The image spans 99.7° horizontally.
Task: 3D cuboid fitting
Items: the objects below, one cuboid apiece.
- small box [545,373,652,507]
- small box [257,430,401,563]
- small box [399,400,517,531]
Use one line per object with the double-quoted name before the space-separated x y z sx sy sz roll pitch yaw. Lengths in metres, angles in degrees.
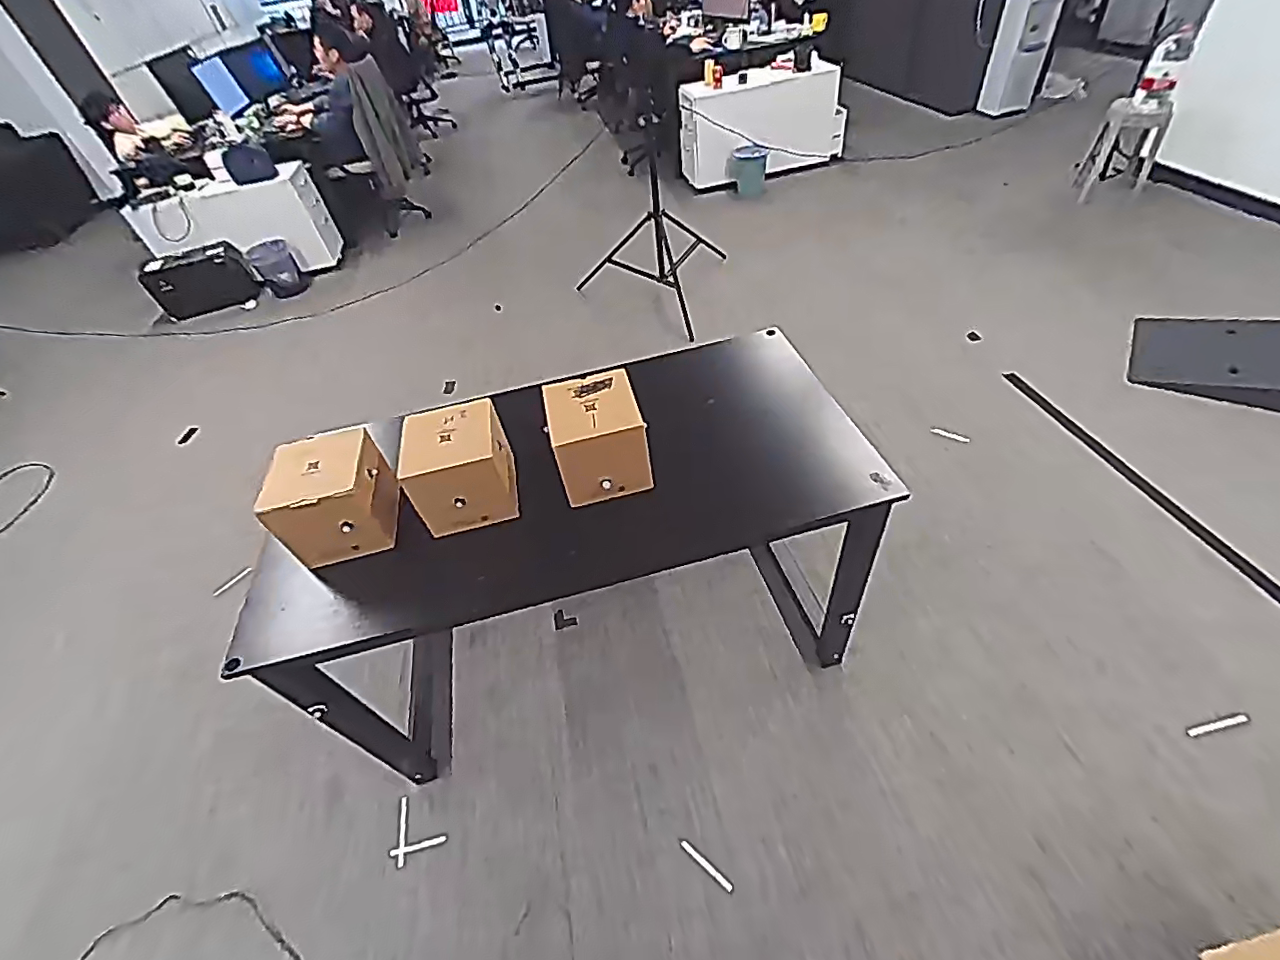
"small box" -0.080 -0.077 1.046 0.168 0.176 0.179 -14 47 -4
"small box" -0.571 0.037 1.021 0.168 0.176 0.179 -14 45 -5
"small box" -0.339 -0.021 1.035 0.168 0.176 0.179 -13 46 -4
